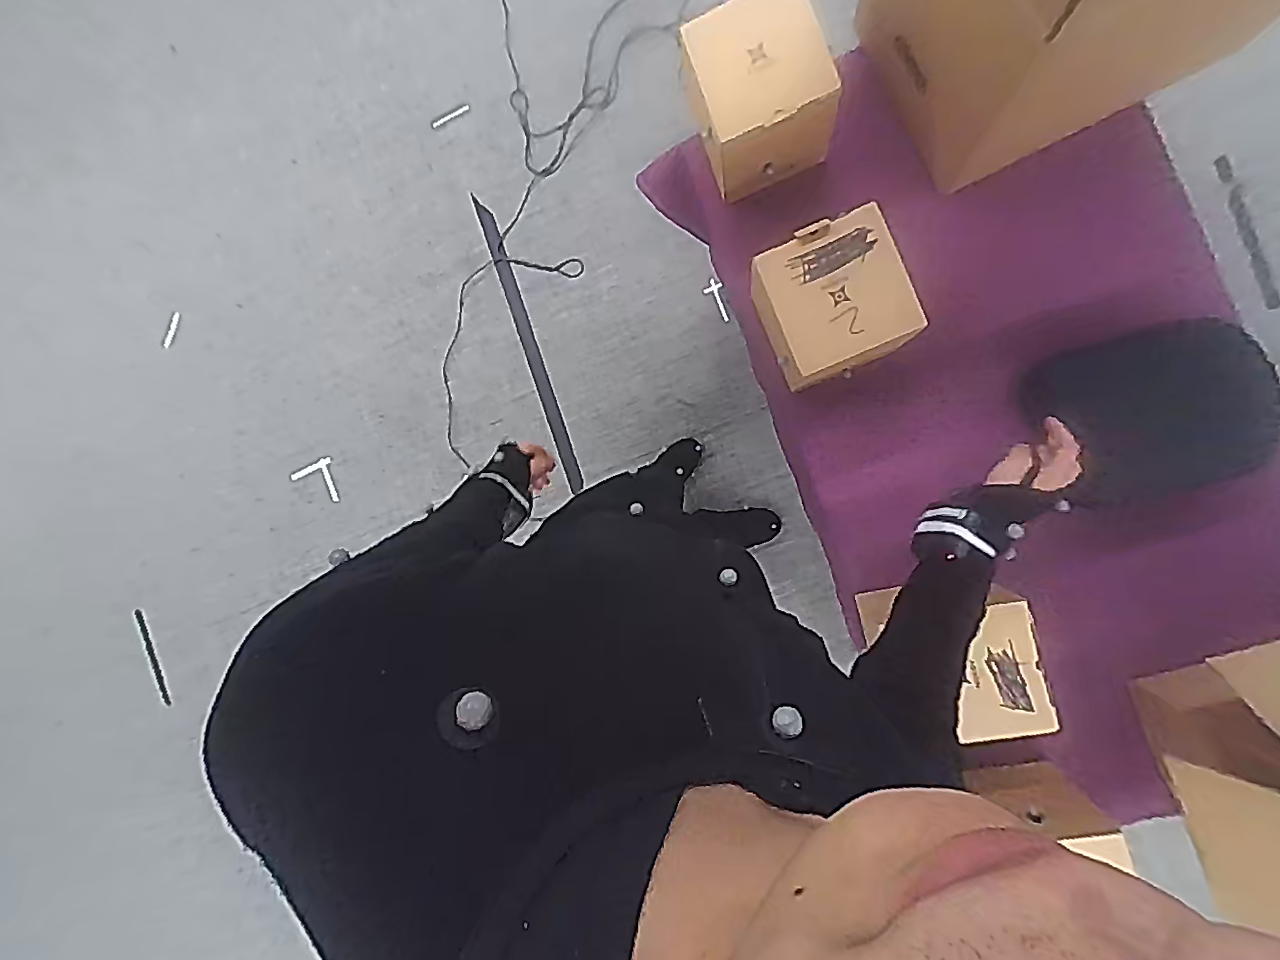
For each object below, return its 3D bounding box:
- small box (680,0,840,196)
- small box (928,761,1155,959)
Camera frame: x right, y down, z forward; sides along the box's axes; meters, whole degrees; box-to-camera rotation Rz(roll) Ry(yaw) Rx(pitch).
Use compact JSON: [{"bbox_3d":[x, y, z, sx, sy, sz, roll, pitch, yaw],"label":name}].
[{"bbox_3d":[0.168,-0.558,0.784,0.168,0.176,0.179,-20,89,11],"label":"small box"},{"bbox_3d":[0.526,0.509,0.736,0.179,0.176,0.168,-14,88,11],"label":"small box"}]
